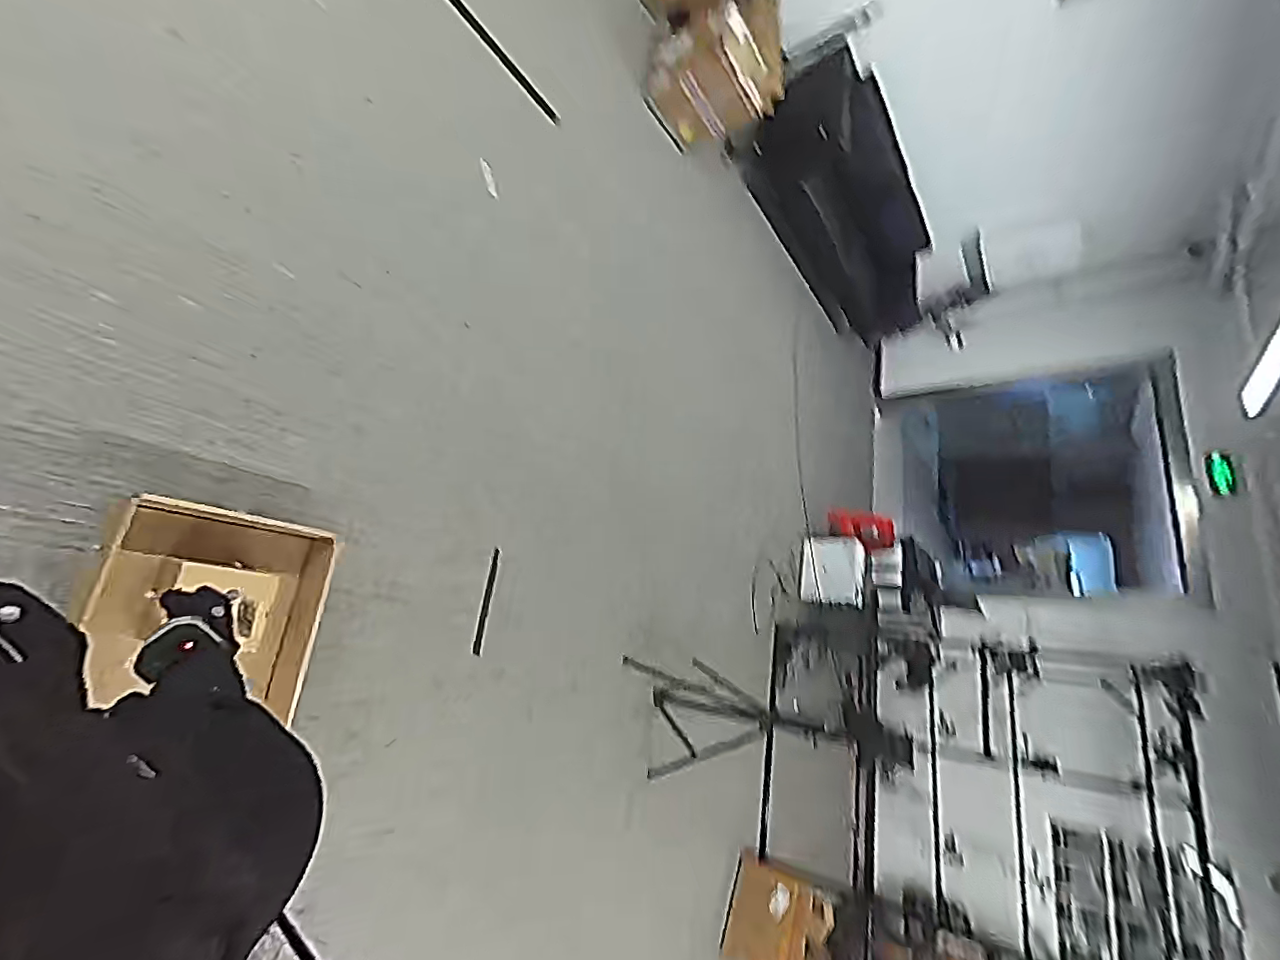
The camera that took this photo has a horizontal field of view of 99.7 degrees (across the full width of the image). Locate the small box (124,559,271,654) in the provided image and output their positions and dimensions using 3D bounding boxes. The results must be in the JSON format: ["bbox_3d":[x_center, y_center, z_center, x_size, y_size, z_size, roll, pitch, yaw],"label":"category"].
[{"bbox_3d":[-0.926,0.262,1.132,0.179,0.176,0.168,28,66,-48],"label":"small box"}]
